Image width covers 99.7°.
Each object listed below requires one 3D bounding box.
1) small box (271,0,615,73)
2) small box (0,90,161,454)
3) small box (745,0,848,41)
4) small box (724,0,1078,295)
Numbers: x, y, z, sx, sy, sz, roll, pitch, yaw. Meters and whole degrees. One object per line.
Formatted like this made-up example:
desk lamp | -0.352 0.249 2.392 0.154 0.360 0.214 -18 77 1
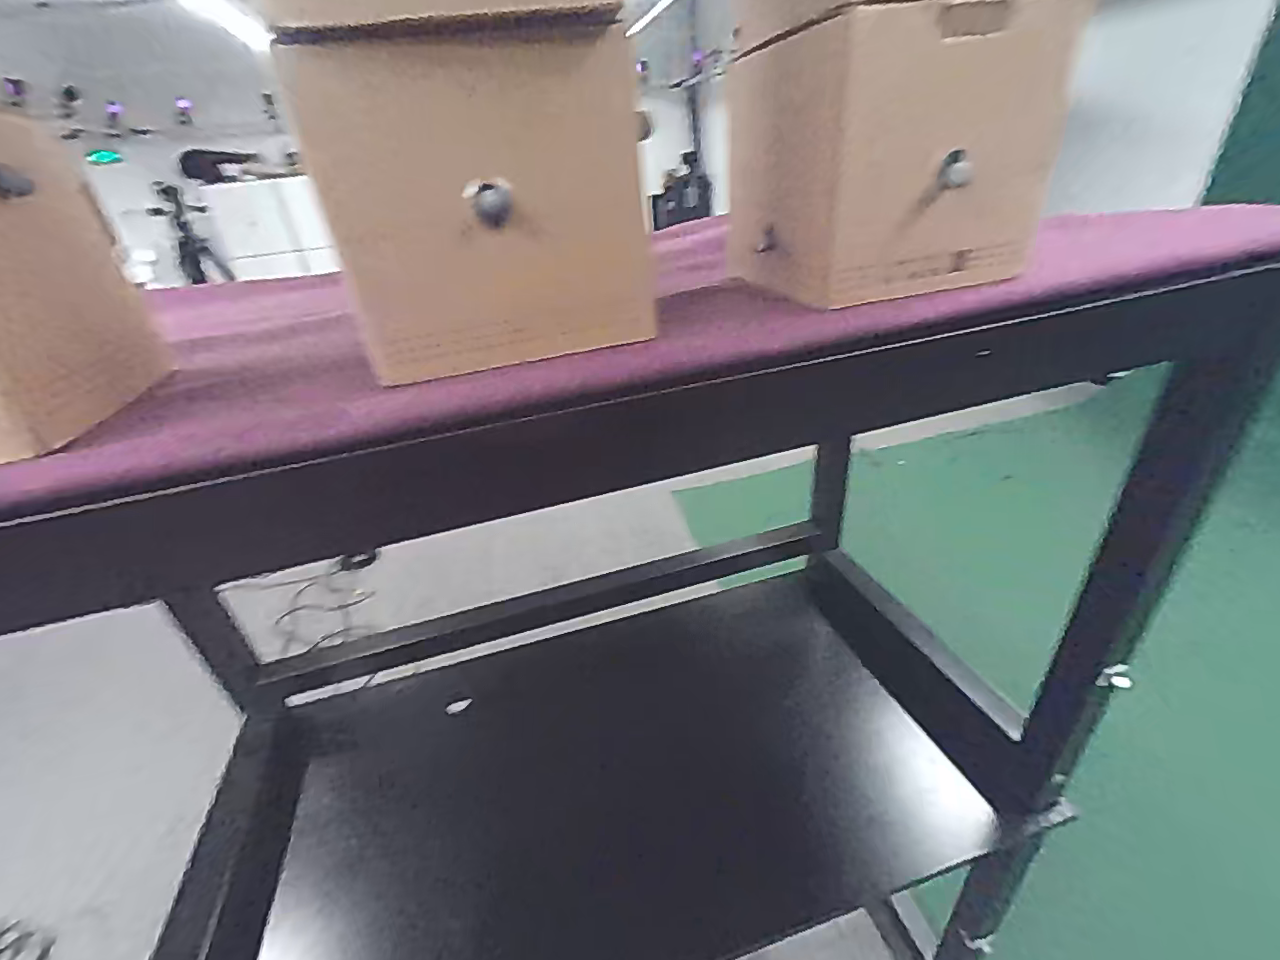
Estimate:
small box | -0.110 -0.326 0.276 0.168 0.176 0.179 -11 31 -8
small box | -0.411 -0.109 0.287 0.168 0.176 0.179 -14 30 -15
small box | 0.169 -0.391 0.338 0.168 0.176 0.179 -12 32 -7
small box | 0.175 -0.249 0.420 0.168 0.176 0.179 -12 32 -10
